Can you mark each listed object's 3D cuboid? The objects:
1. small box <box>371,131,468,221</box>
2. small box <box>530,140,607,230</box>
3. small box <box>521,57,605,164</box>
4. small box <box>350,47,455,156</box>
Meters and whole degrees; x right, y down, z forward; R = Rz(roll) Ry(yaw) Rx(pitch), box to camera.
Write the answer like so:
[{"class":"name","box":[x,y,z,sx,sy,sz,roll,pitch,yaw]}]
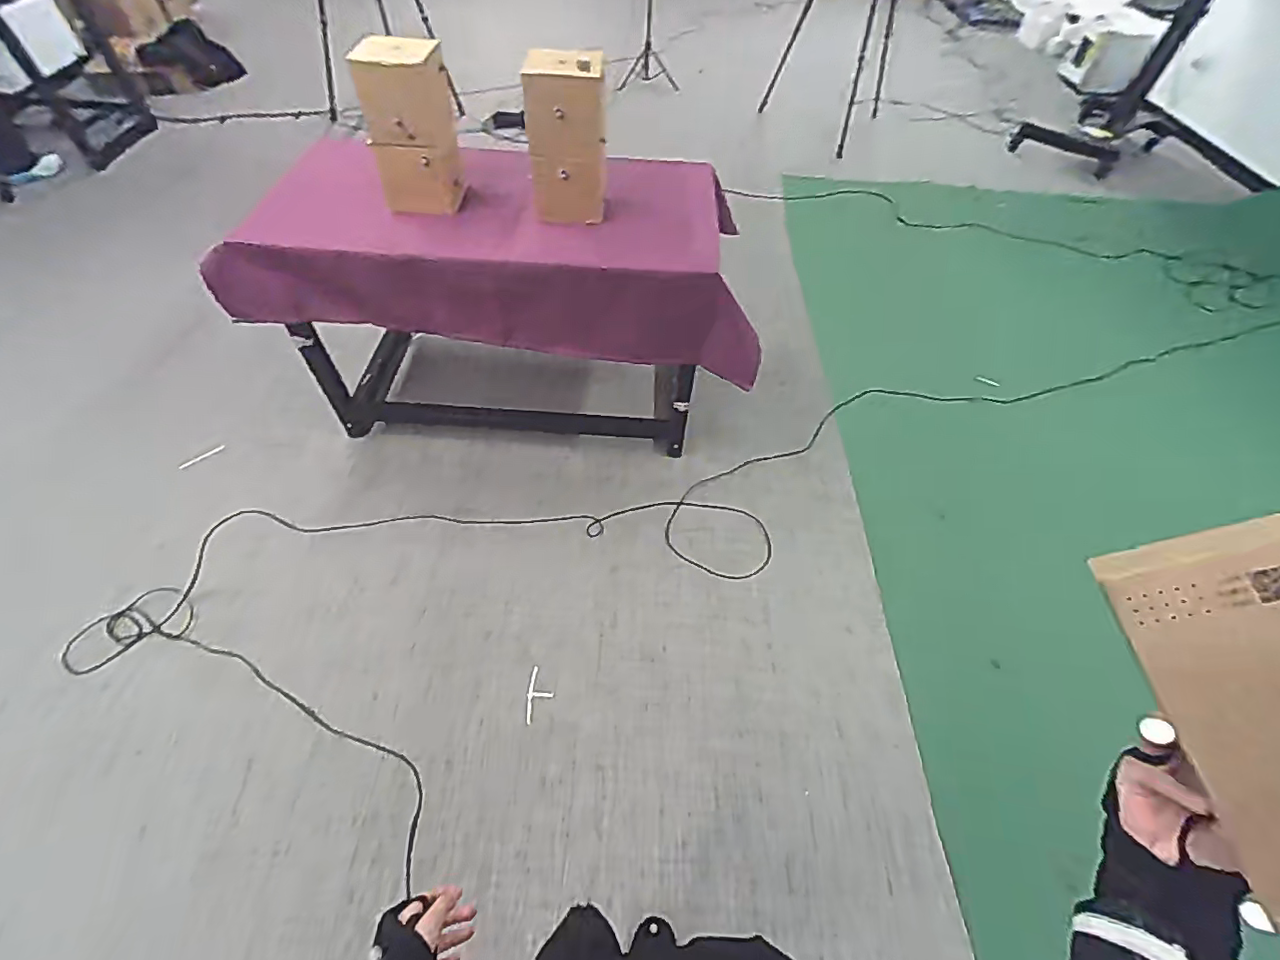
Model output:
[{"class":"small box","box":[-0.571,-0.804,1.426,0.179,0.176,0.168,2,52,-2]},{"class":"small box","box":[-0.180,-0.780,1.425,0.179,0.176,0.168,3,53,-1]},{"class":"small box","box":[-0.175,-0.880,1.295,0.179,0.176,0.168,2,53,0]},{"class":"small box","box":[-0.557,-0.907,1.298,0.168,0.176,0.179,2,52,-1]}]
